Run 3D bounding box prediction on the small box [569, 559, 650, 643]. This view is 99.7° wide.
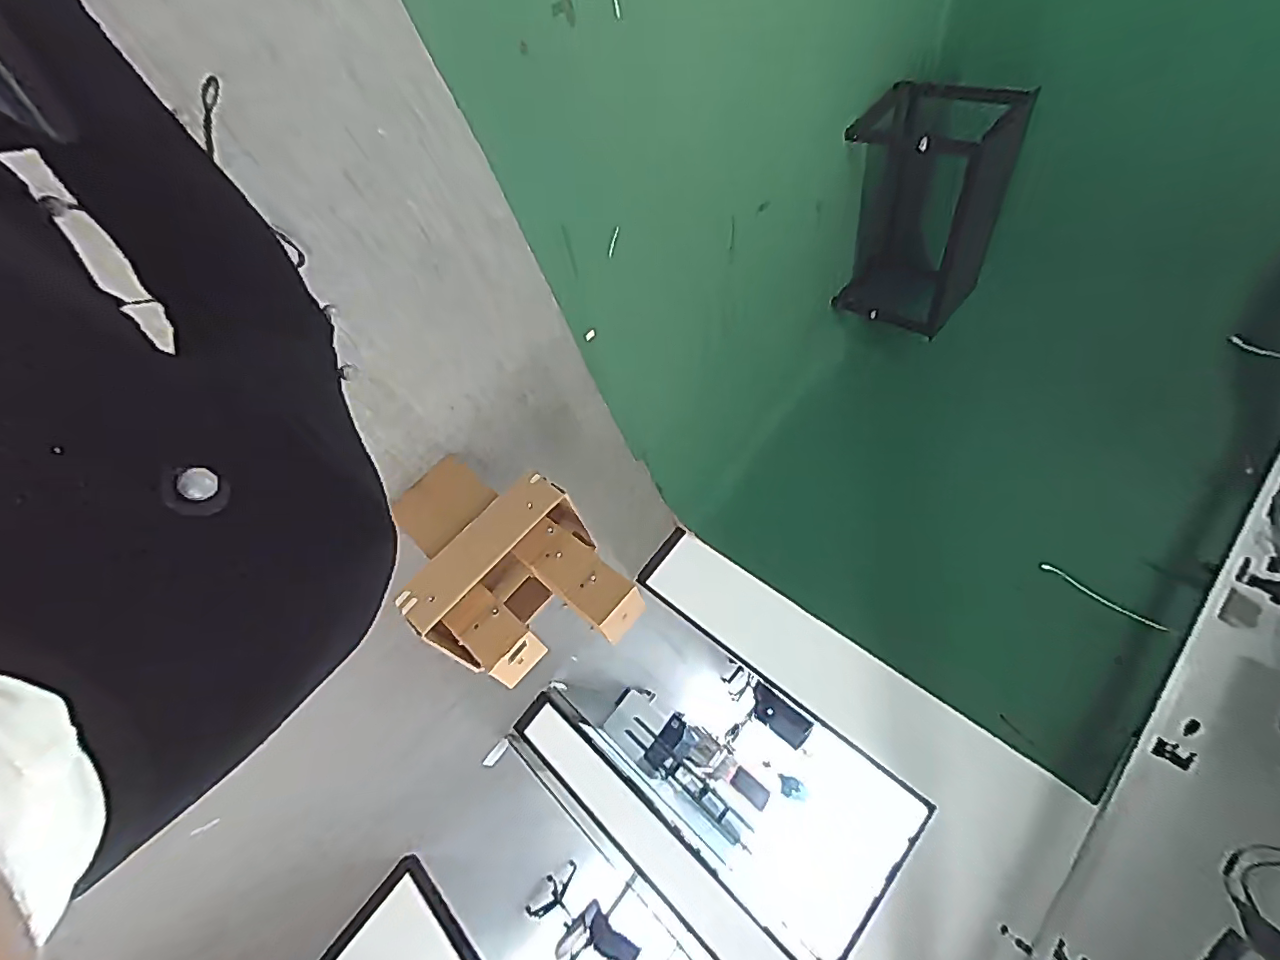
[{"bbox_3d":[-0.097,0.379,1.714,0.168,0.176,0.179,-45,147,-19],"label":"small box"}]

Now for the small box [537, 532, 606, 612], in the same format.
[{"bbox_3d":[-0.212,0.302,1.800,0.168,0.176,0.179,-45,146,-19],"label":"small box"}]

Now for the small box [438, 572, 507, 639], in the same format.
[{"bbox_3d":[-0.533,0.437,1.803,0.168,0.176,0.179,-45,146,-17],"label":"small box"}]

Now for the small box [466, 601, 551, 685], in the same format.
[{"bbox_3d":[-0.417,0.509,1.711,0.168,0.176,0.179,-44,146,-18],"label":"small box"}]
